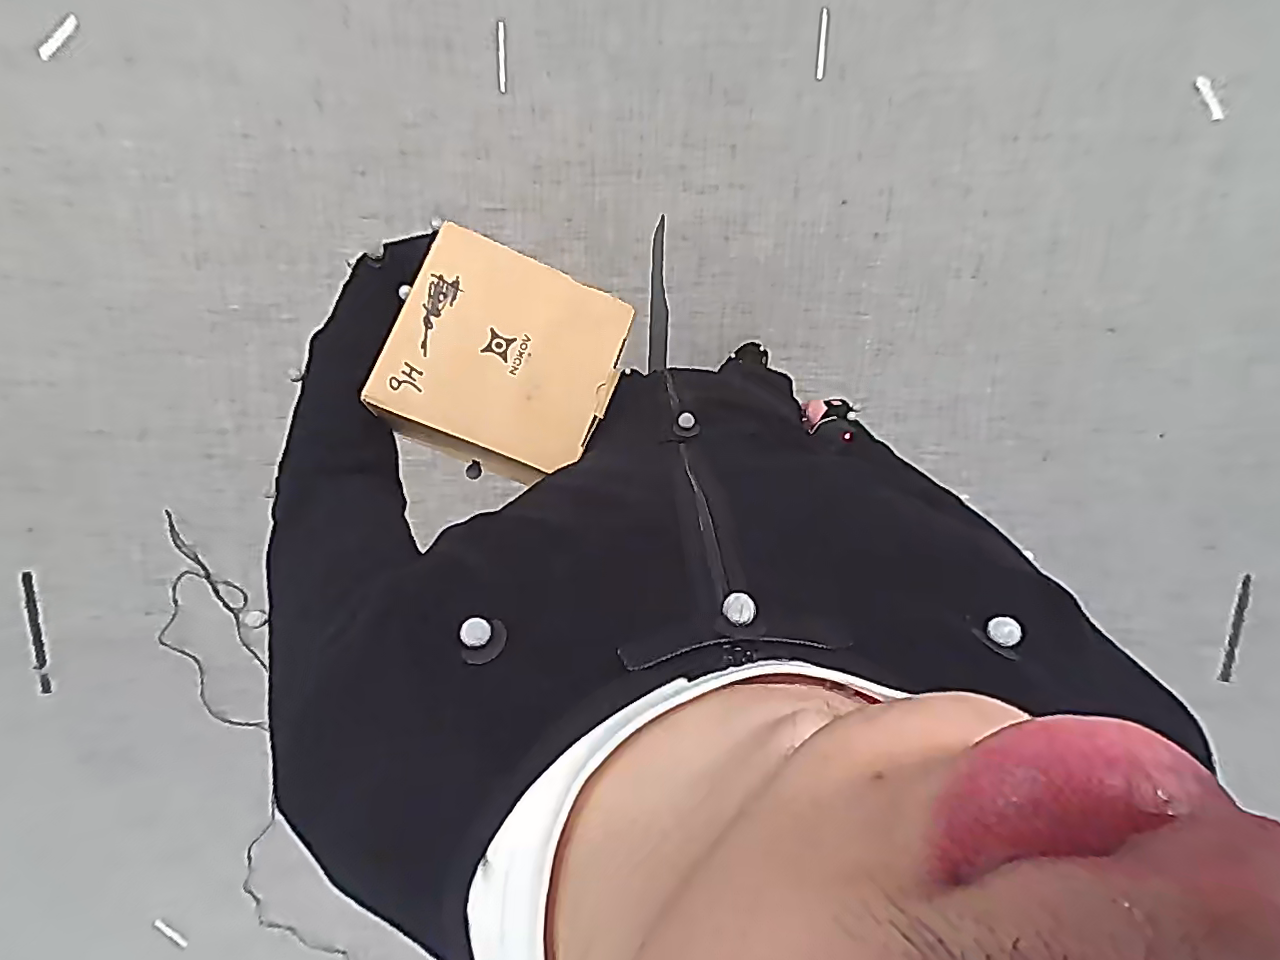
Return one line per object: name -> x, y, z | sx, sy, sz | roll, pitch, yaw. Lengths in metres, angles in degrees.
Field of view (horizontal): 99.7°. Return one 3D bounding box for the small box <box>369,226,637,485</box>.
small box -> -0.127, -0.100, 0.529 | 0.179, 0.176, 0.168 | 22, 79, -12
